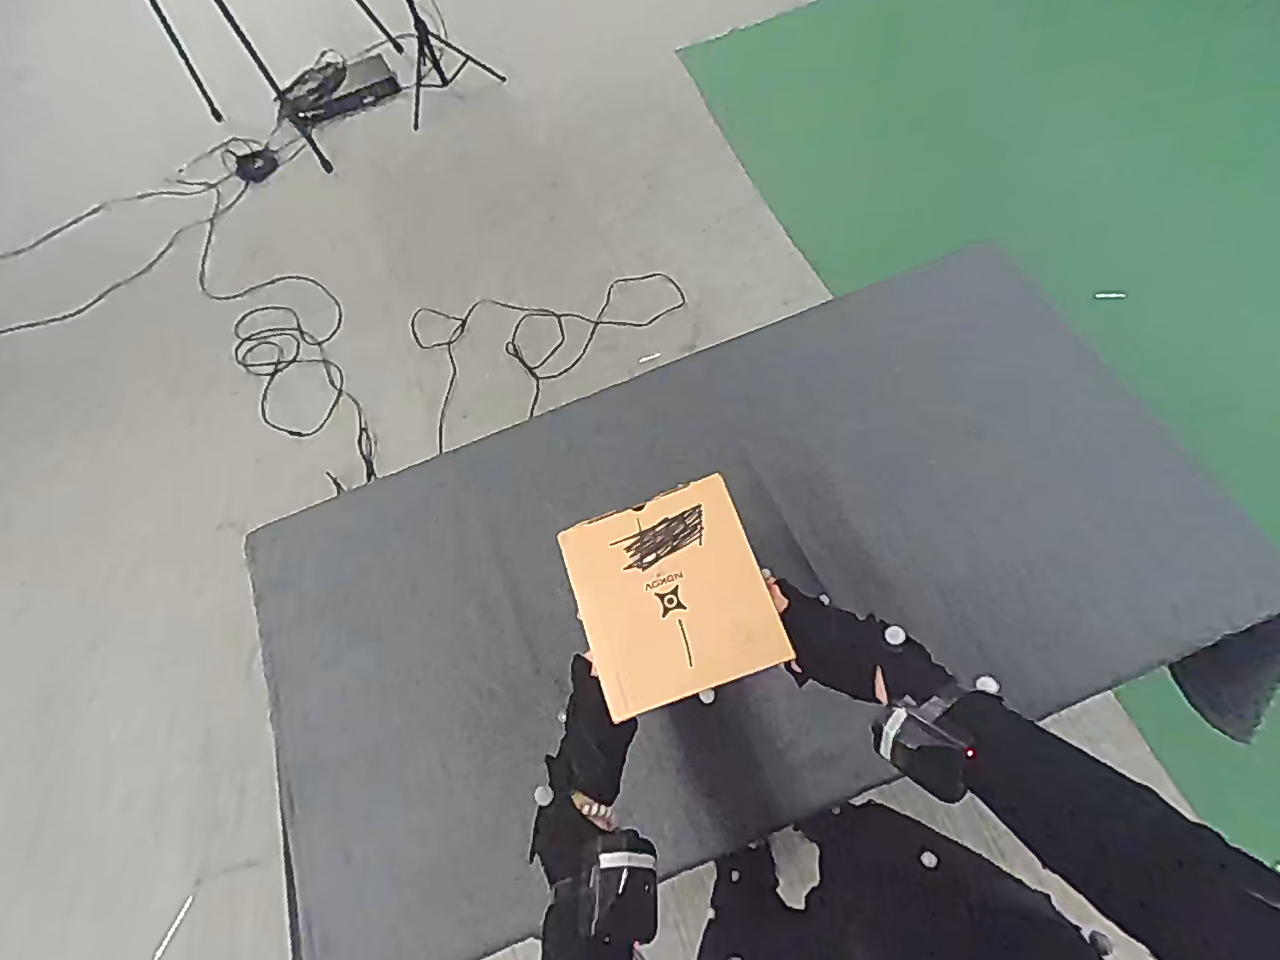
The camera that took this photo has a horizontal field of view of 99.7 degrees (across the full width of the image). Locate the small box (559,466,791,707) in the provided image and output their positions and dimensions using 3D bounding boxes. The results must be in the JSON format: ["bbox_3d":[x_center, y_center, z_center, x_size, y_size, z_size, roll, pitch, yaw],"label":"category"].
[{"bbox_3d":[0.036,0.113,0.553,0.168,0.176,0.179,-20,71,4],"label":"small box"}]
